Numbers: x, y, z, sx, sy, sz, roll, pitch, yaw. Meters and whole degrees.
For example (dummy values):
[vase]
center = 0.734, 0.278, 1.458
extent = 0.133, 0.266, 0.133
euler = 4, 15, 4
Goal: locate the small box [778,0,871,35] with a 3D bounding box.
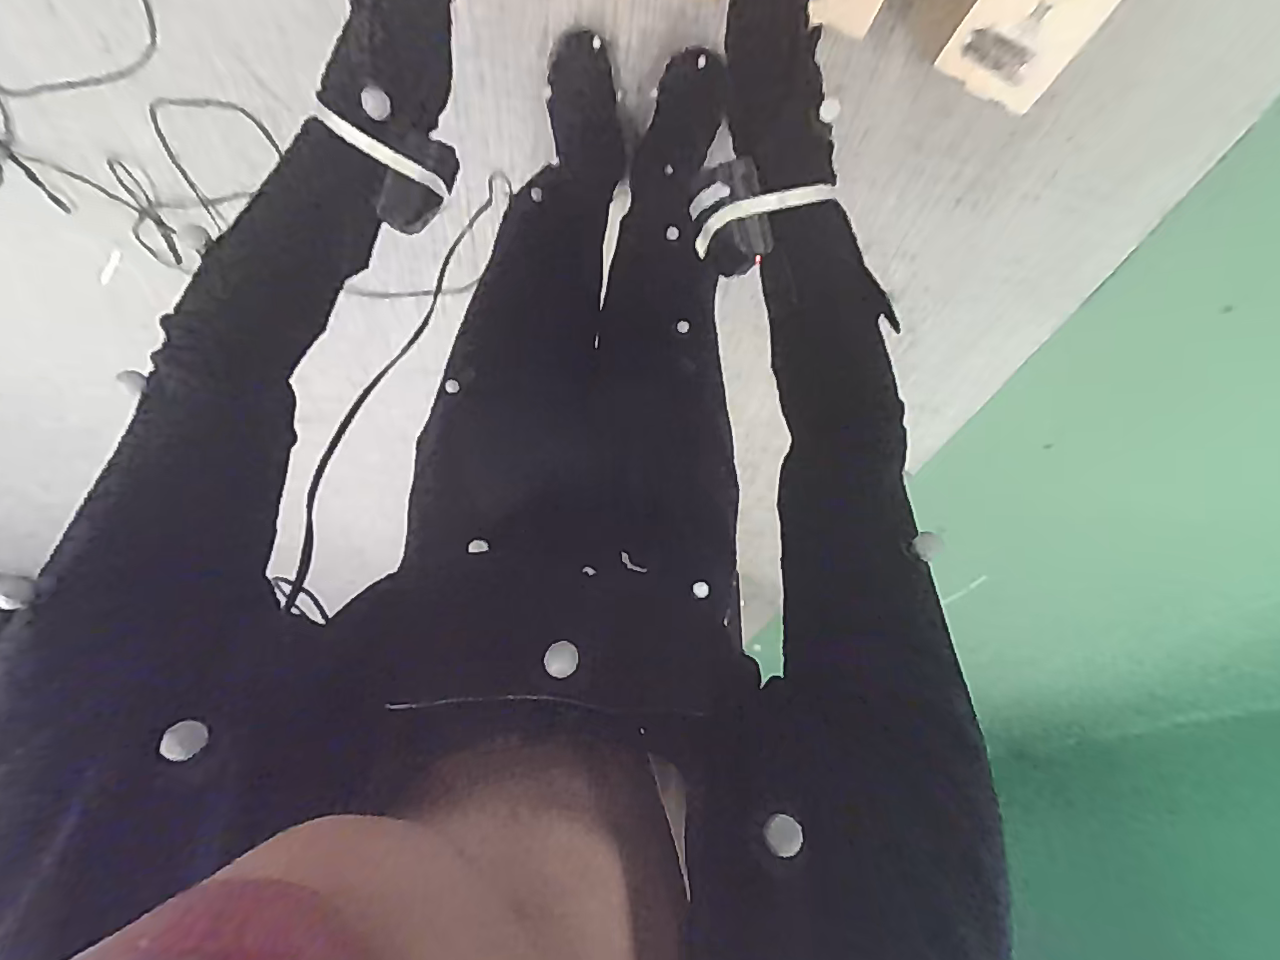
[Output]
[small box]
center = 0.236, -0.719, 0.677
extent = 0.168, 0.176, 0.179
euler = 14, 144, -12
